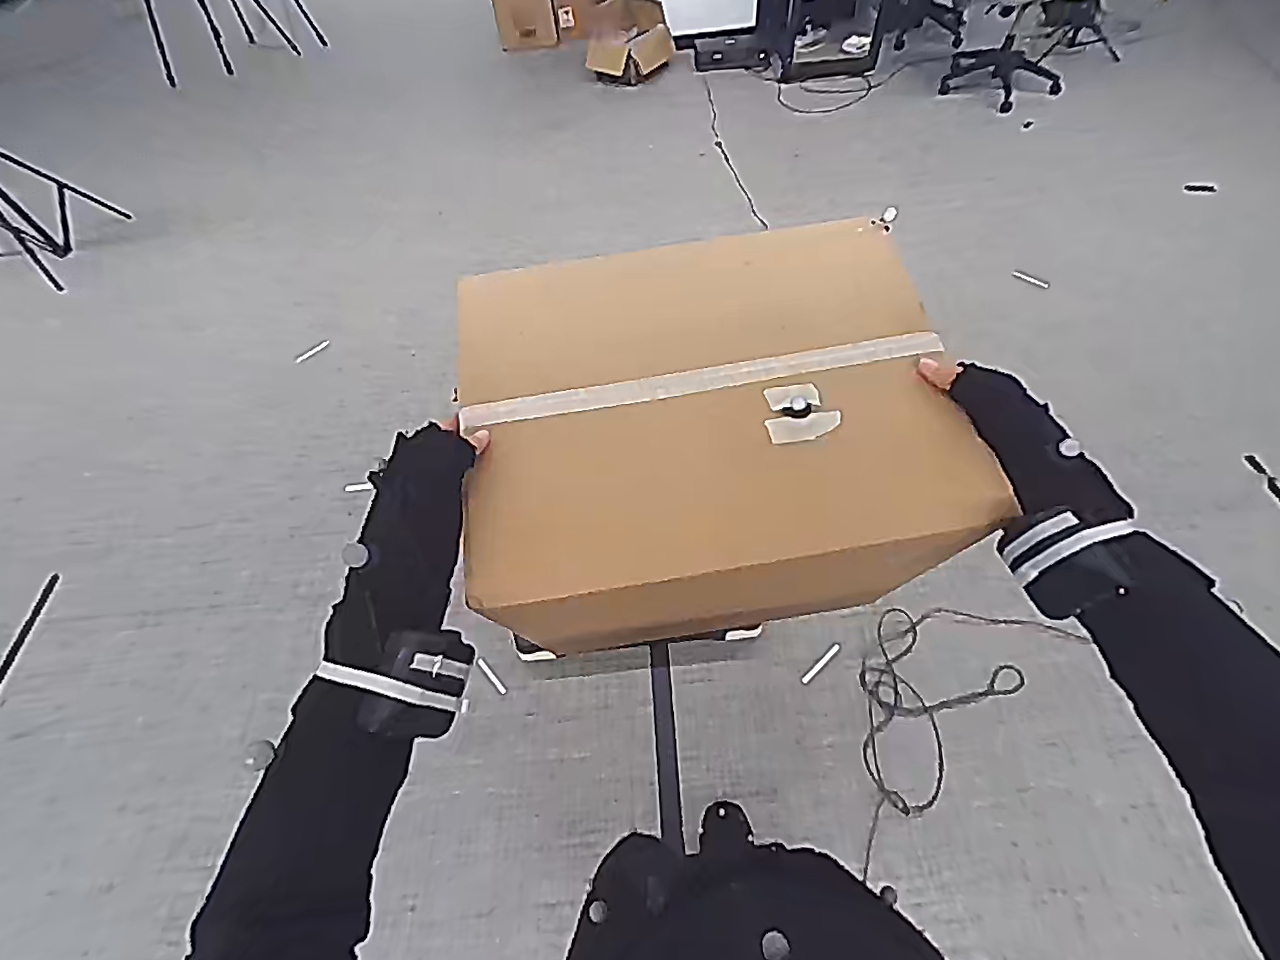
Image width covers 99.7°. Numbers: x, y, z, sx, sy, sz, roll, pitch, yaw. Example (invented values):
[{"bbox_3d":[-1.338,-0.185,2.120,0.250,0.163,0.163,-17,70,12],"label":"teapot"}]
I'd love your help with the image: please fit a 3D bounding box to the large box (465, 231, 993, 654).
[{"bbox_3d":[0.057,-0.015,0.600,0.408,0.320,0.320,-10,66,-1],"label":"large box"}]
